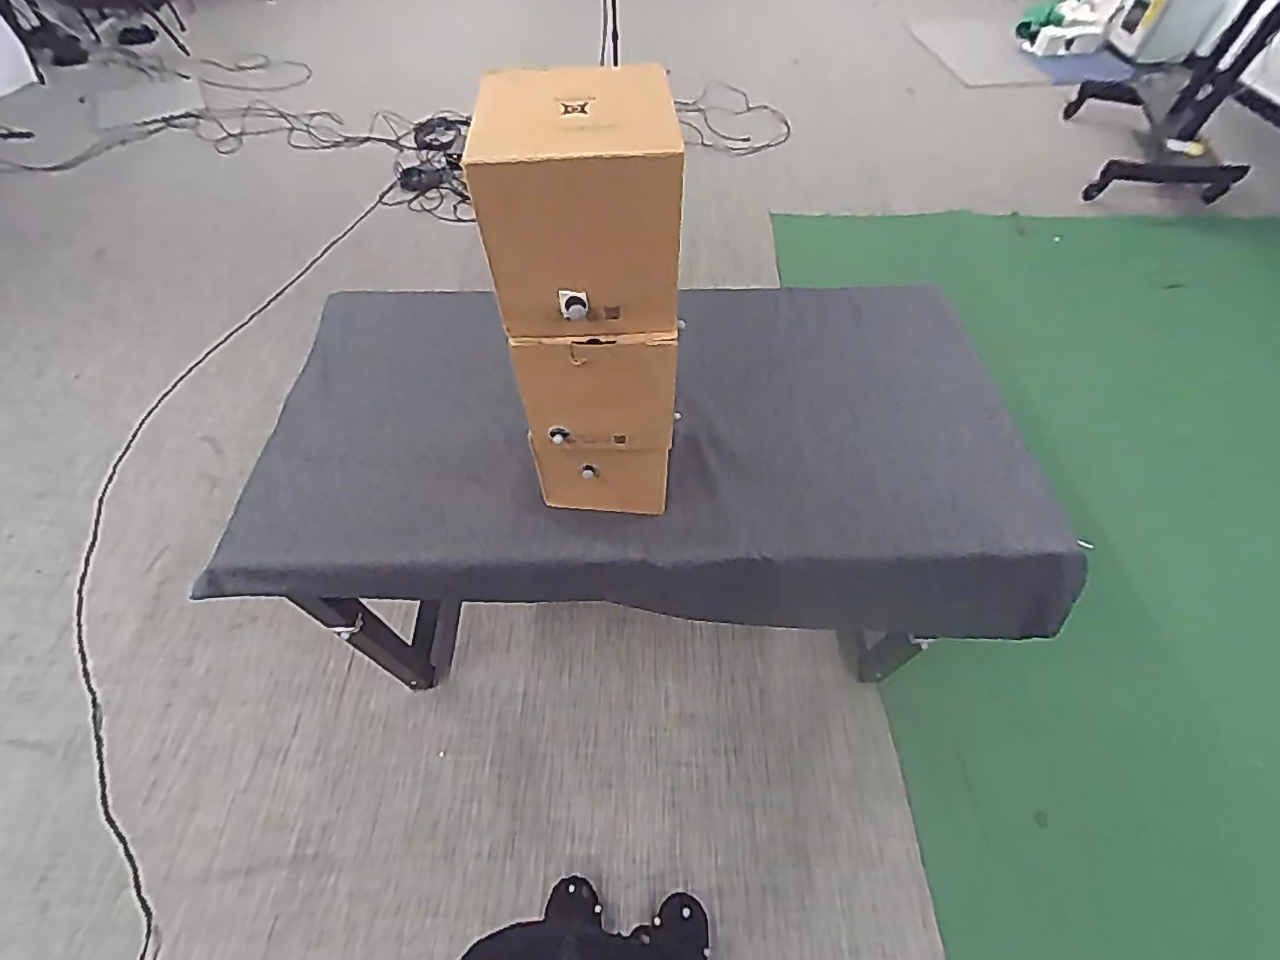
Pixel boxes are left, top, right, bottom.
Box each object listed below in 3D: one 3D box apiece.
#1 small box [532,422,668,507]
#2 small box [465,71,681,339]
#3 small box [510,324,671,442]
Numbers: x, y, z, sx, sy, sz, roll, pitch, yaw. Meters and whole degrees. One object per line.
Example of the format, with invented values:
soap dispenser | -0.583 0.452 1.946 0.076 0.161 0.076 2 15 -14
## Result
small box | -0.048 -0.074 0.790 0.179 0.176 0.168 2 53 1
small box | -0.055 -0.259 0.519 0.168 0.176 0.179 -4 56 -1
small box | -0.051 -0.157 0.645 0.168 0.176 0.179 -3 56 -1
